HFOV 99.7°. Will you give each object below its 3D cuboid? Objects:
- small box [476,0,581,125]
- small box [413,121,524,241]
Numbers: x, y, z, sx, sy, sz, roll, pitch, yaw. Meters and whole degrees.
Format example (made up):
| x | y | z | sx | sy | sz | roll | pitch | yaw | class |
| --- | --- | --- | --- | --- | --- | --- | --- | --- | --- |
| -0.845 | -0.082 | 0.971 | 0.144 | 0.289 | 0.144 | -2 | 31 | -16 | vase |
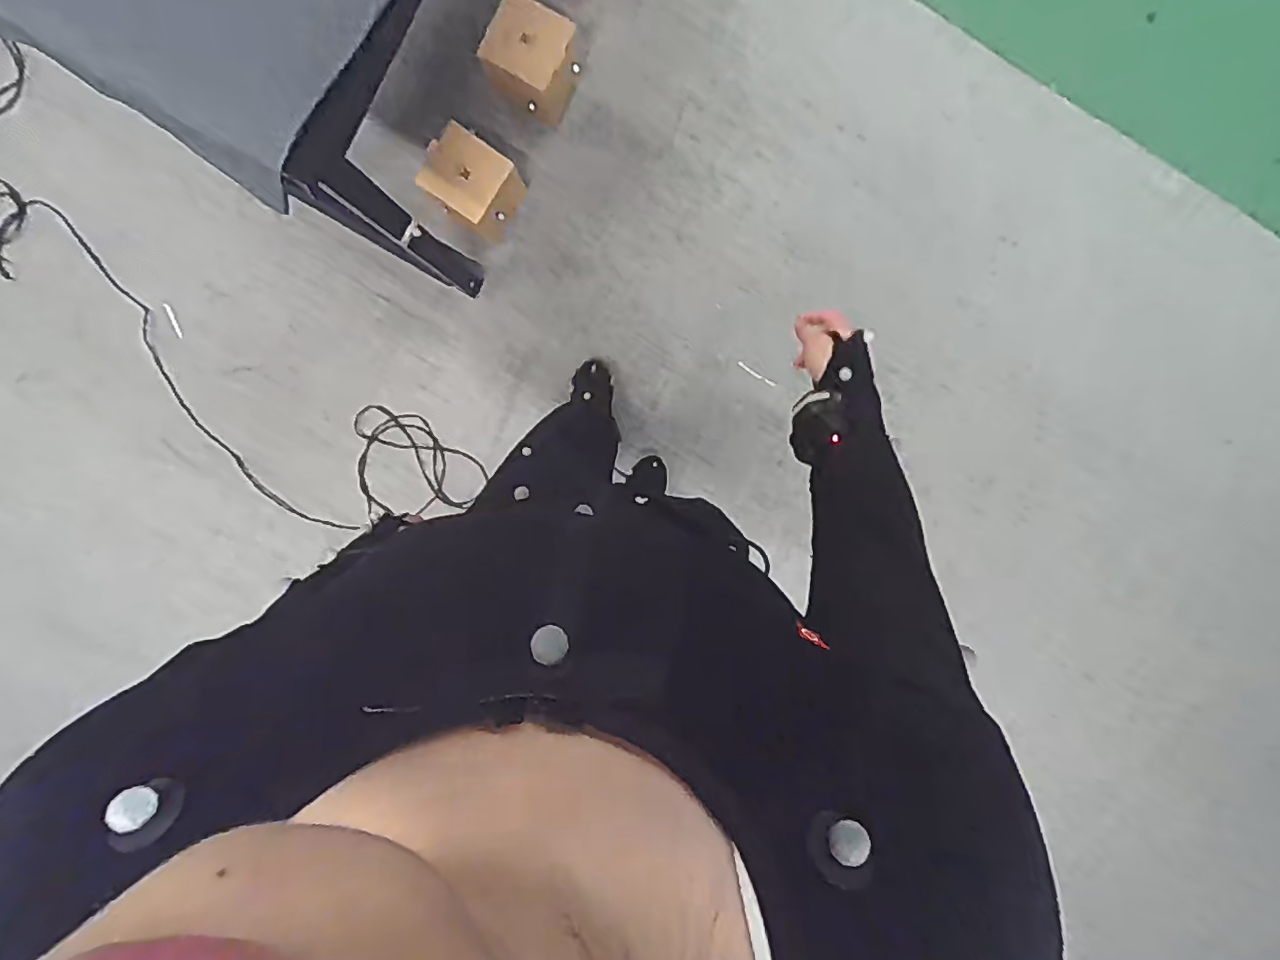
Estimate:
| x | y | z | sx | sy | sz | roll | pitch | yaw | class |
| --- | --- | --- | --- | --- | --- | --- | --- | --- | --- |
| -0.255 | -0.990 | 1.286 | 0.179 | 0.176 | 0.168 | 28 | 95 | -2 | small box |
| -0.406 | -0.711 | 1.316 | 0.179 | 0.176 | 0.168 | 35 | 95 | -3 | small box |
